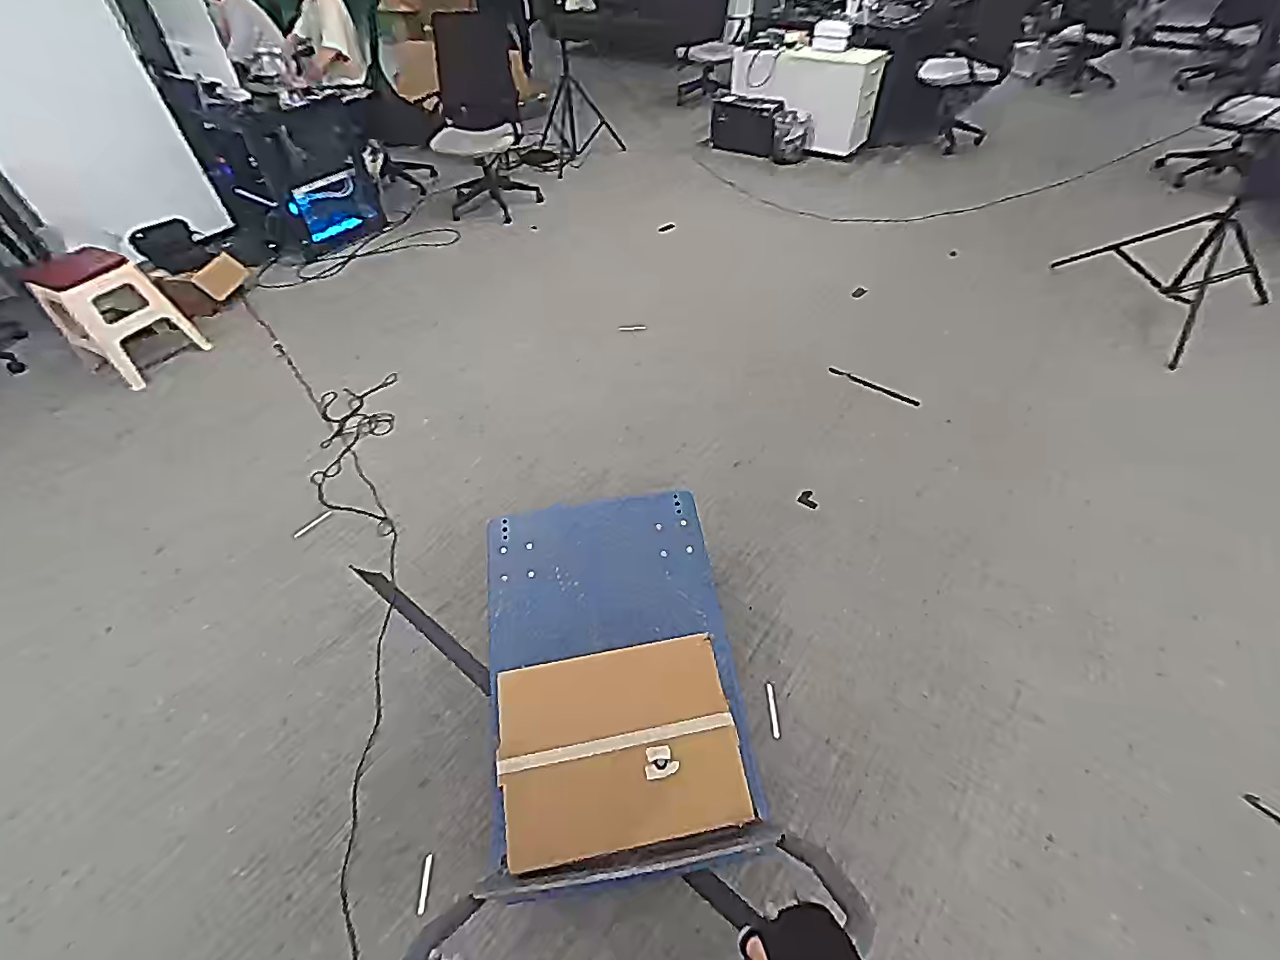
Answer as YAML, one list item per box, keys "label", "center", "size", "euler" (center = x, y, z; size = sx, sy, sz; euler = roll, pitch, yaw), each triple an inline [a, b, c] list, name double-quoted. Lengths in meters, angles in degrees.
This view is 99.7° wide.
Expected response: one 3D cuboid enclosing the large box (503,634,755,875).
- label: "large box"
  center: [-0.032, 0.541, 1.080]
  size: [0.408, 0.320, 0.320]
  euler: [-10, 60, -6]
